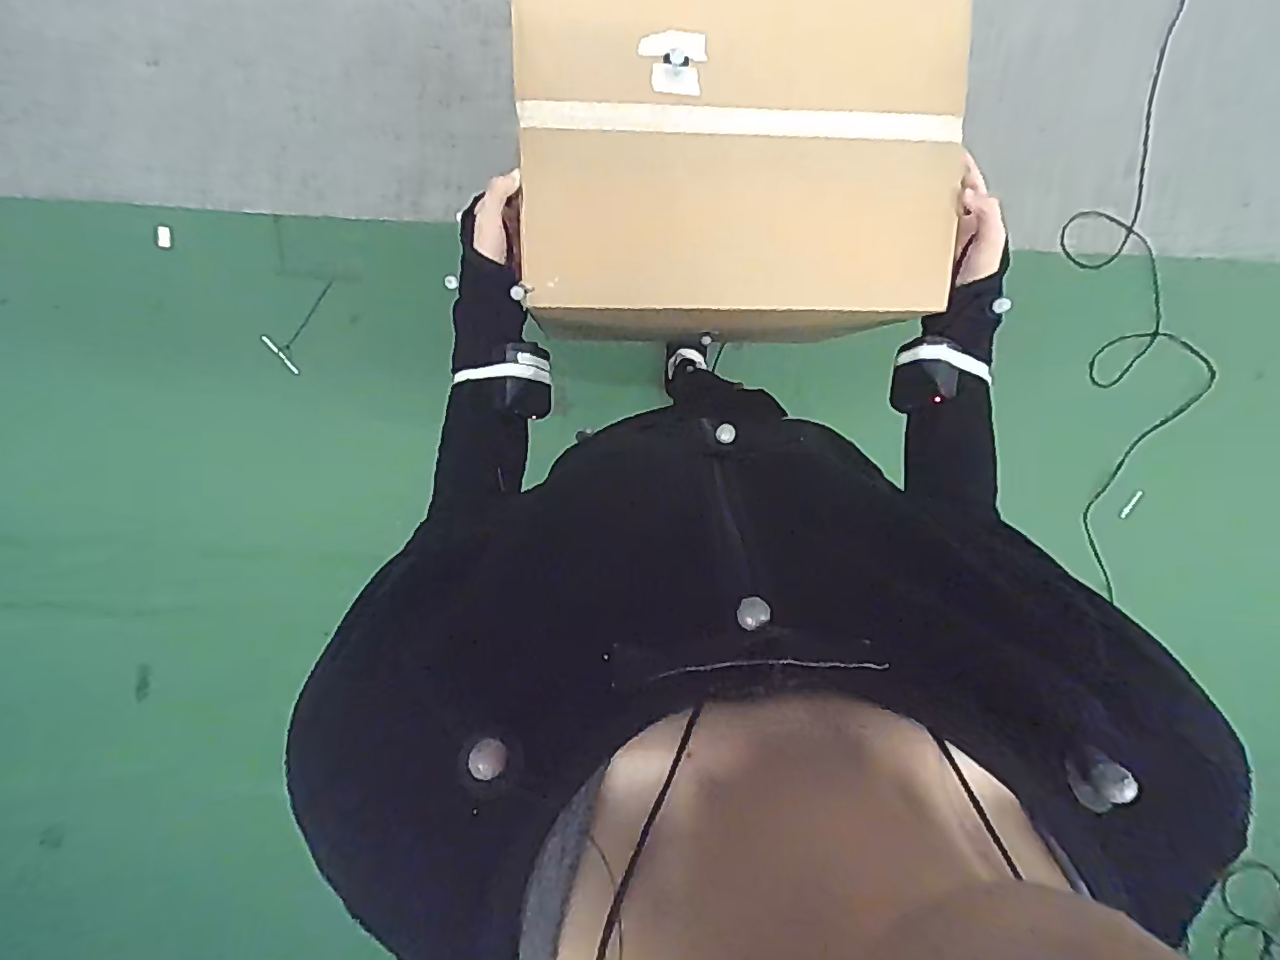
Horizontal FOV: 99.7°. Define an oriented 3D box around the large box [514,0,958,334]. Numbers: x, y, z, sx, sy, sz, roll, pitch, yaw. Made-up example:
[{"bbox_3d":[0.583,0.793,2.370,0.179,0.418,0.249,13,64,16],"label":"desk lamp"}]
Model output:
[{"bbox_3d":[0.082,-0.343,0.640,0.408,0.320,0.320,-1,99,-4],"label":"large box"}]
